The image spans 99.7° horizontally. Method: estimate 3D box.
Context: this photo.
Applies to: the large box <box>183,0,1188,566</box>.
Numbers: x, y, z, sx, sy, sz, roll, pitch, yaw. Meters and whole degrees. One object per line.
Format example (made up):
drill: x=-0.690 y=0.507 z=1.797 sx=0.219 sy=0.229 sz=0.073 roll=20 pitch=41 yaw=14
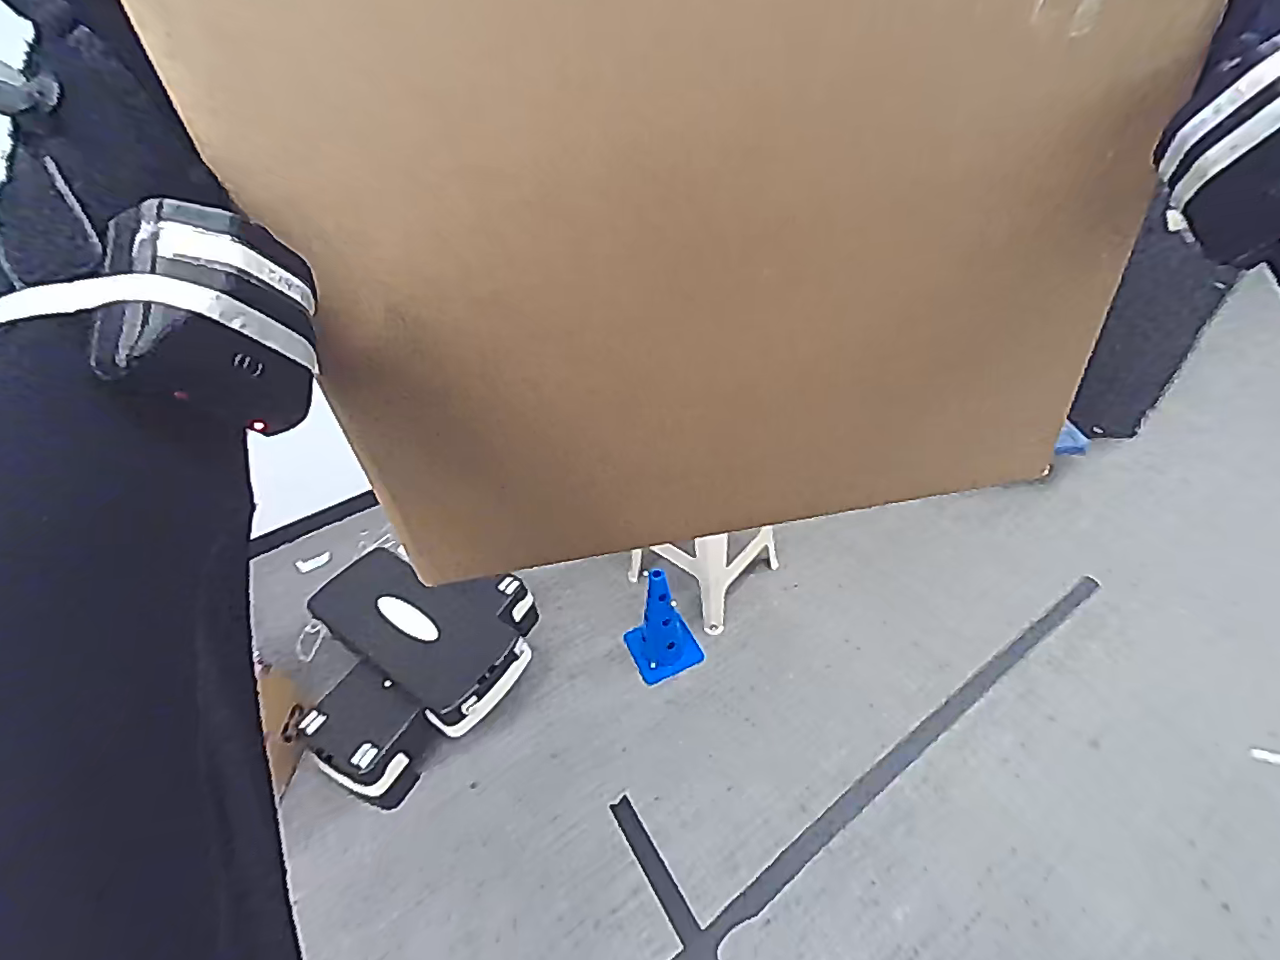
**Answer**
large box: x=0.026 y=-0.178 z=0.387 sx=0.408 sy=0.320 sz=0.320 roll=-9 pitch=36 yaw=-3
